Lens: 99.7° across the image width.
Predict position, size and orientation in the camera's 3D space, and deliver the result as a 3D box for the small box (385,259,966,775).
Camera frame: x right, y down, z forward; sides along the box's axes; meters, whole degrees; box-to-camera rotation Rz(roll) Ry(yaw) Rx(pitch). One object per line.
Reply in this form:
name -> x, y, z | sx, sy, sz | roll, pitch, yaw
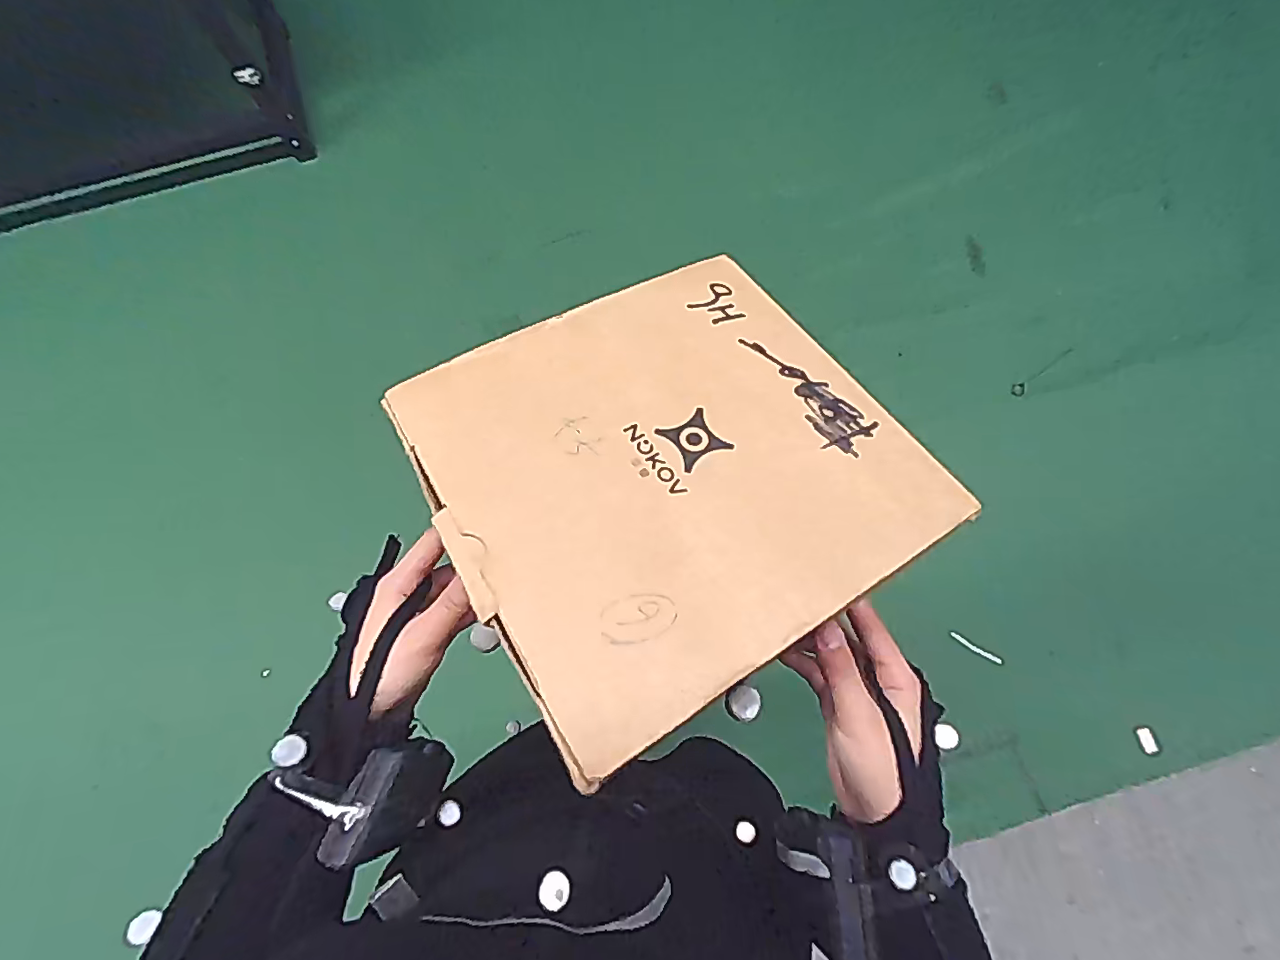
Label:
small box -> 0.008, 0.029, 0.280 | 0.179, 0.176, 0.168 | -28, 66, -17
